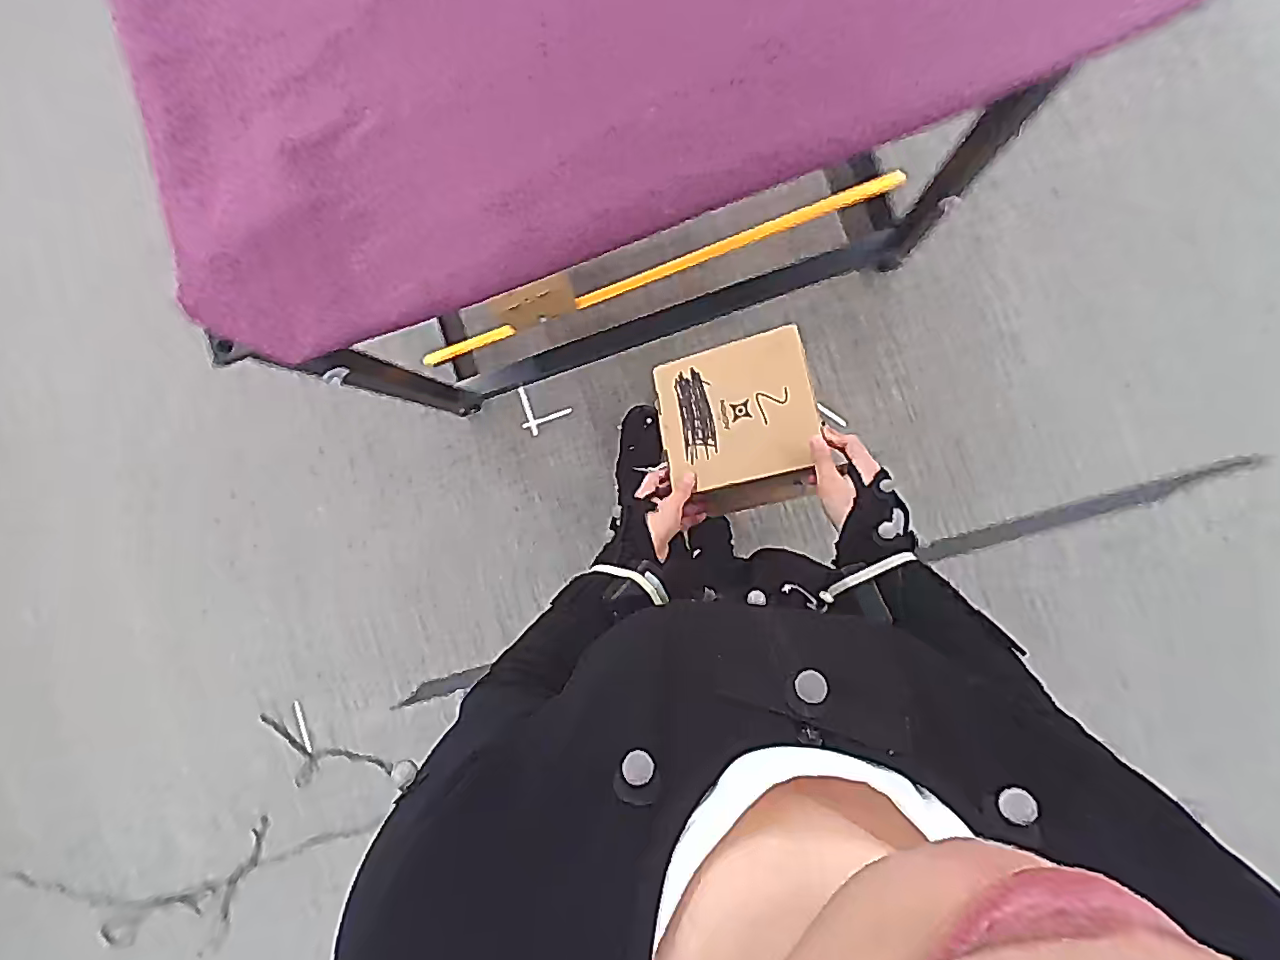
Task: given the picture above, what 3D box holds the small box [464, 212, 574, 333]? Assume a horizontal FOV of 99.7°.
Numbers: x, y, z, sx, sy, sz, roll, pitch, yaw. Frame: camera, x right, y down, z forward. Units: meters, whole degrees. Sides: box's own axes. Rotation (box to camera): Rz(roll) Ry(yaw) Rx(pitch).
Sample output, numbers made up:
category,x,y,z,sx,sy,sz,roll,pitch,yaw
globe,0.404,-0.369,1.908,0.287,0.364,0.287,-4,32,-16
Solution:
category,x,y,z,sx,sy,sz,roll,pitch,yaw
small box,-0.266,-0.458,1.223,0.168,0.176,0.179,-22,89,6
